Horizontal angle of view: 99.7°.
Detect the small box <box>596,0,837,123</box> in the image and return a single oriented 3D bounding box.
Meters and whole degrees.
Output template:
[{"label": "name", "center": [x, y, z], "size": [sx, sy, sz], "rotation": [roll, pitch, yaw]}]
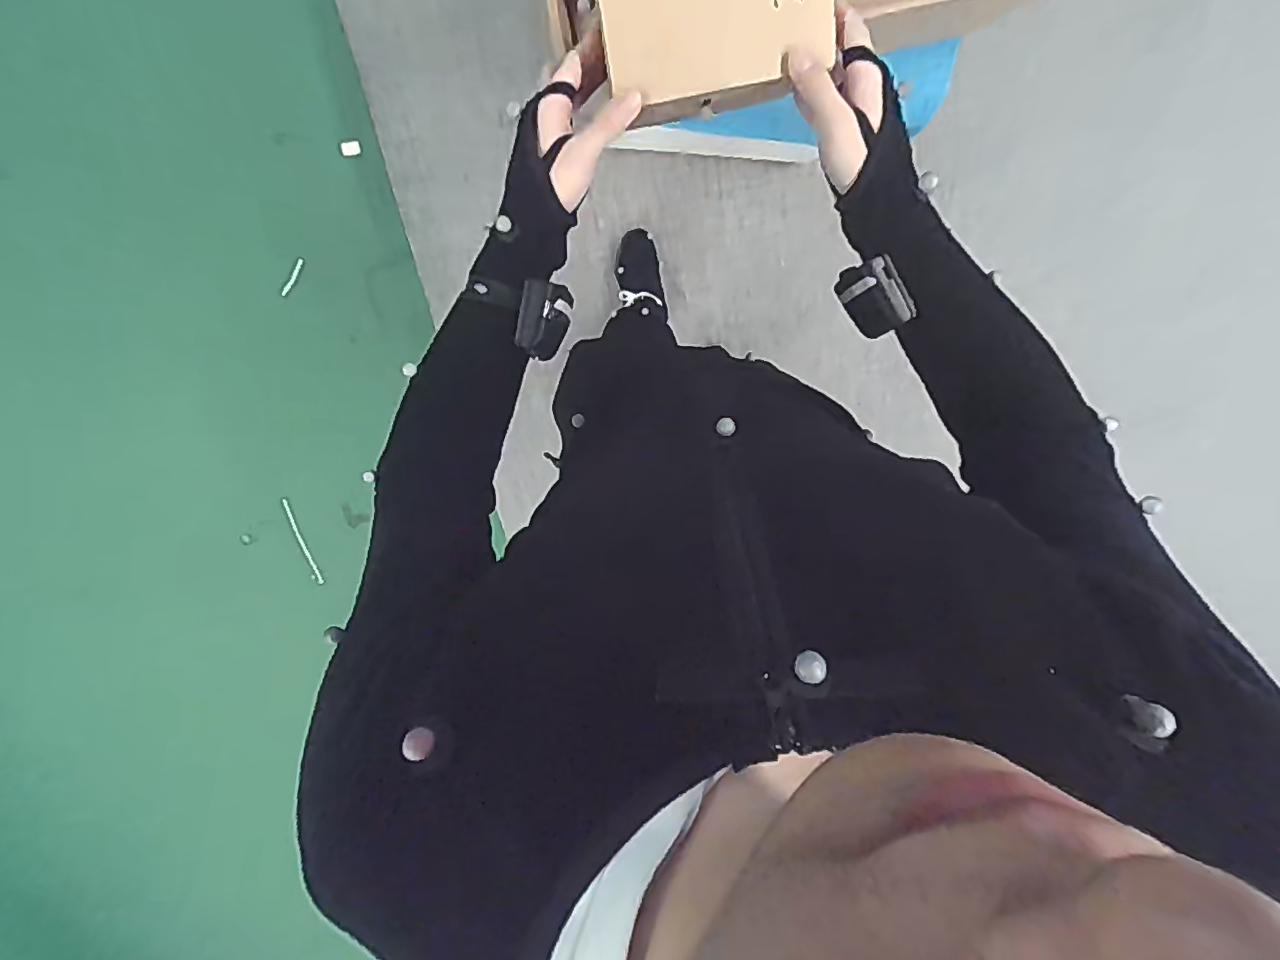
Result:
[{"label": "small box", "center": [0.050, -0.415, 0.449], "size": [0.179, 0.176, 0.168], "rotation": [-9, 118, 3]}]
